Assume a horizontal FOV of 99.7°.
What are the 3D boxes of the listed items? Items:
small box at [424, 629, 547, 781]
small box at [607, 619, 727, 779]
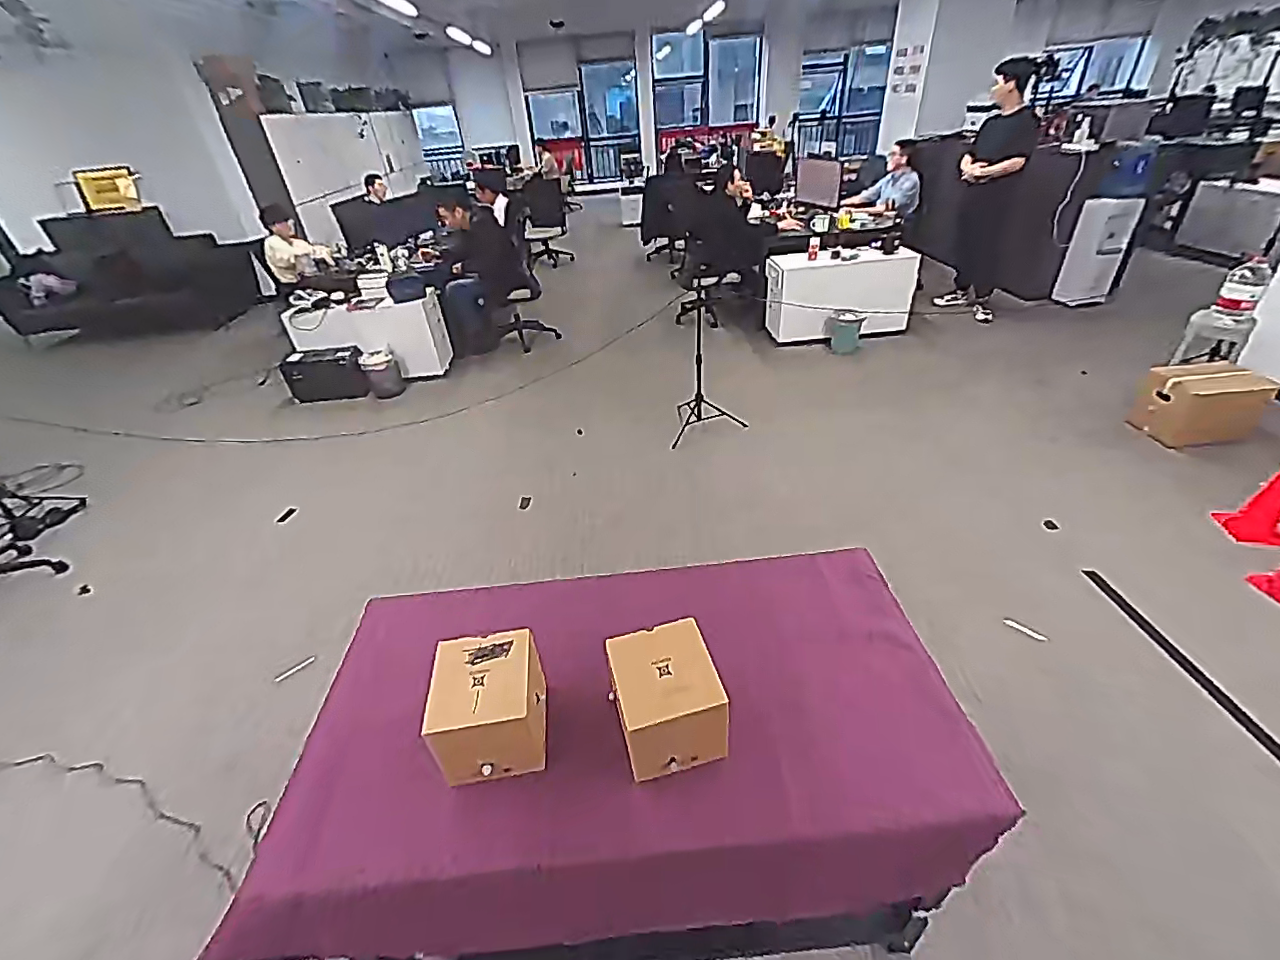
[{"bbox_3d":[-0.261,0.396,0.957,0.168,0.176,0.179,-8,36,-4],"label":"small box"},{"bbox_3d":[0.044,0.379,0.945,0.168,0.176,0.179,-12,35,-9],"label":"small box"}]
